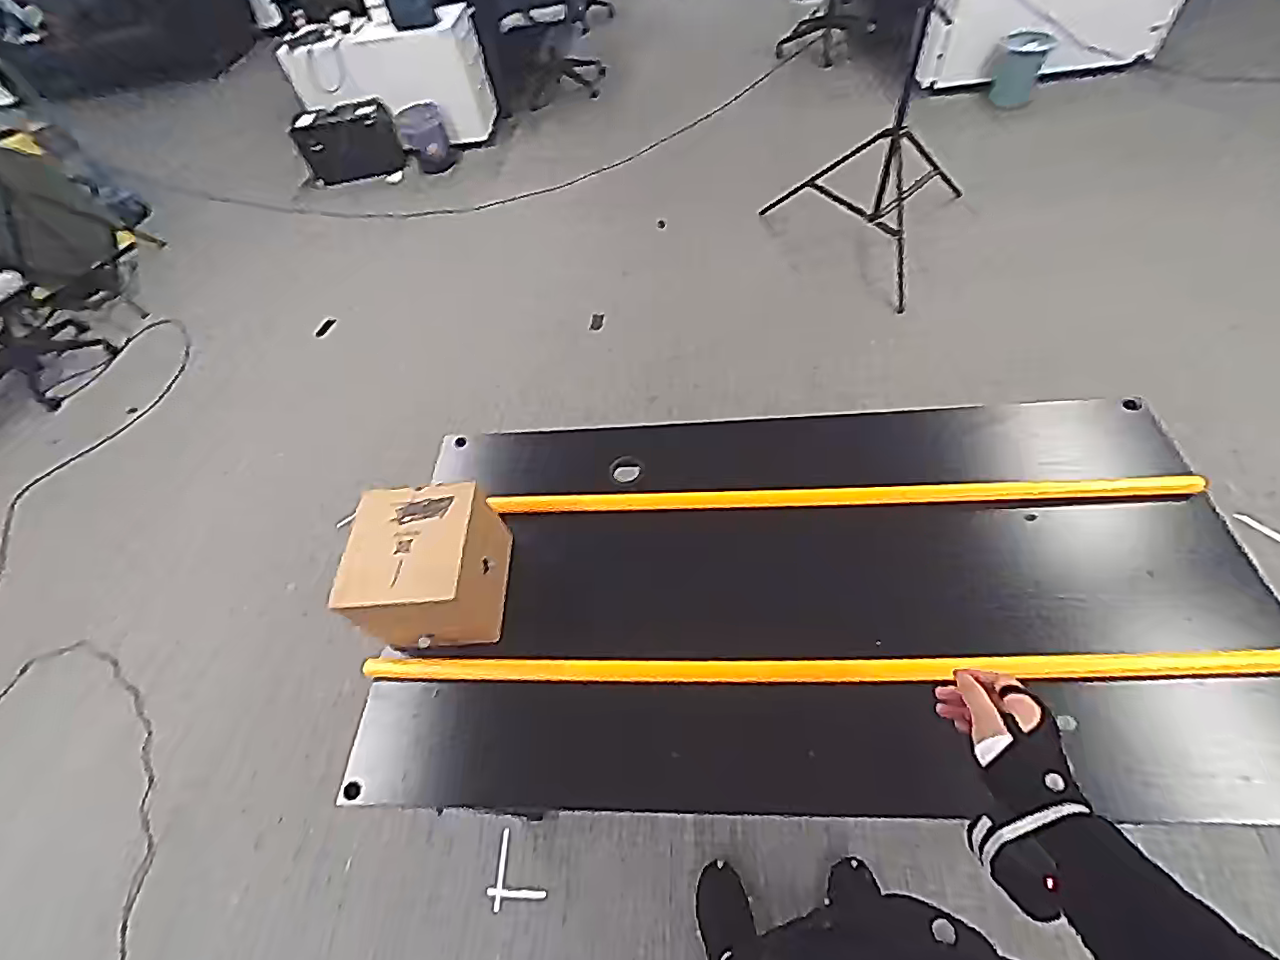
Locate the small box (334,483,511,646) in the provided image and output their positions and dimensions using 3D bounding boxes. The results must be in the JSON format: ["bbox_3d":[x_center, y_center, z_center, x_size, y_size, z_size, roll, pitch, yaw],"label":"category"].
[{"bbox_3d":[-0.294,0.125,0.779,0.168,0.176,0.179,-5,56,5],"label":"small box"}]
